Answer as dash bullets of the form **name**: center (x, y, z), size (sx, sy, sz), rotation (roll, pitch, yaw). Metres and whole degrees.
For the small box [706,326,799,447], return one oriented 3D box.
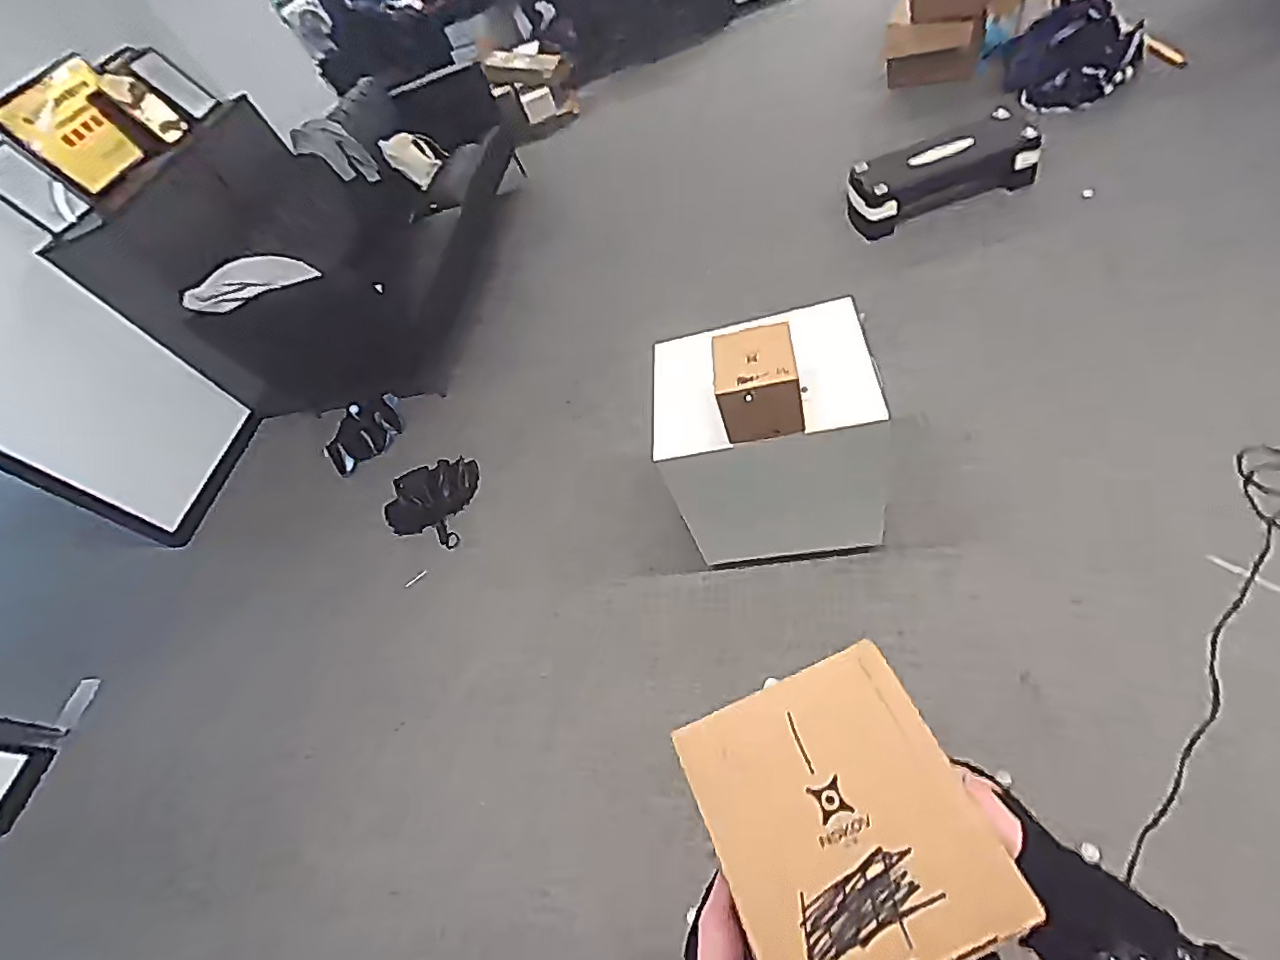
- **small box**: center (0.243, -0.197, 1.165), size (0.168, 0.176, 0.179), rotation (-11, 51, 16)
